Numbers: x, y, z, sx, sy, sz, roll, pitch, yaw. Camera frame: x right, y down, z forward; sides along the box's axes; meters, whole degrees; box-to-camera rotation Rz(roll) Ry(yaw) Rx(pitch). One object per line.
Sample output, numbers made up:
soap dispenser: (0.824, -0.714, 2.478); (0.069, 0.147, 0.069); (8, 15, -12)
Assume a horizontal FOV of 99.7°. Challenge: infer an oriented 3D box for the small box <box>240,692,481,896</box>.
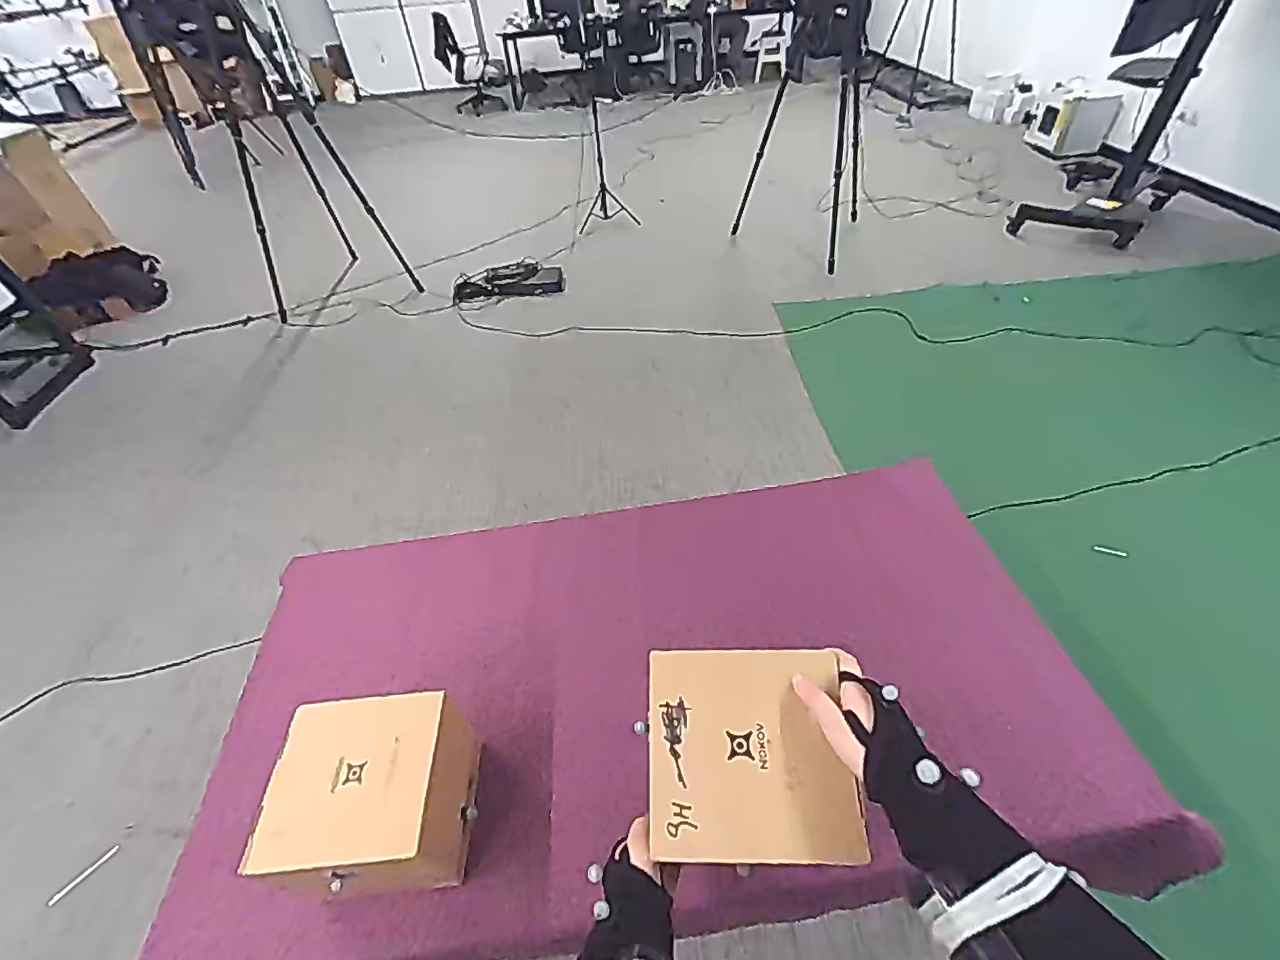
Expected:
small box: (-0.304, 0.371, 0.635); (0.179, 0.176, 0.168); (-6, 46, -1)
